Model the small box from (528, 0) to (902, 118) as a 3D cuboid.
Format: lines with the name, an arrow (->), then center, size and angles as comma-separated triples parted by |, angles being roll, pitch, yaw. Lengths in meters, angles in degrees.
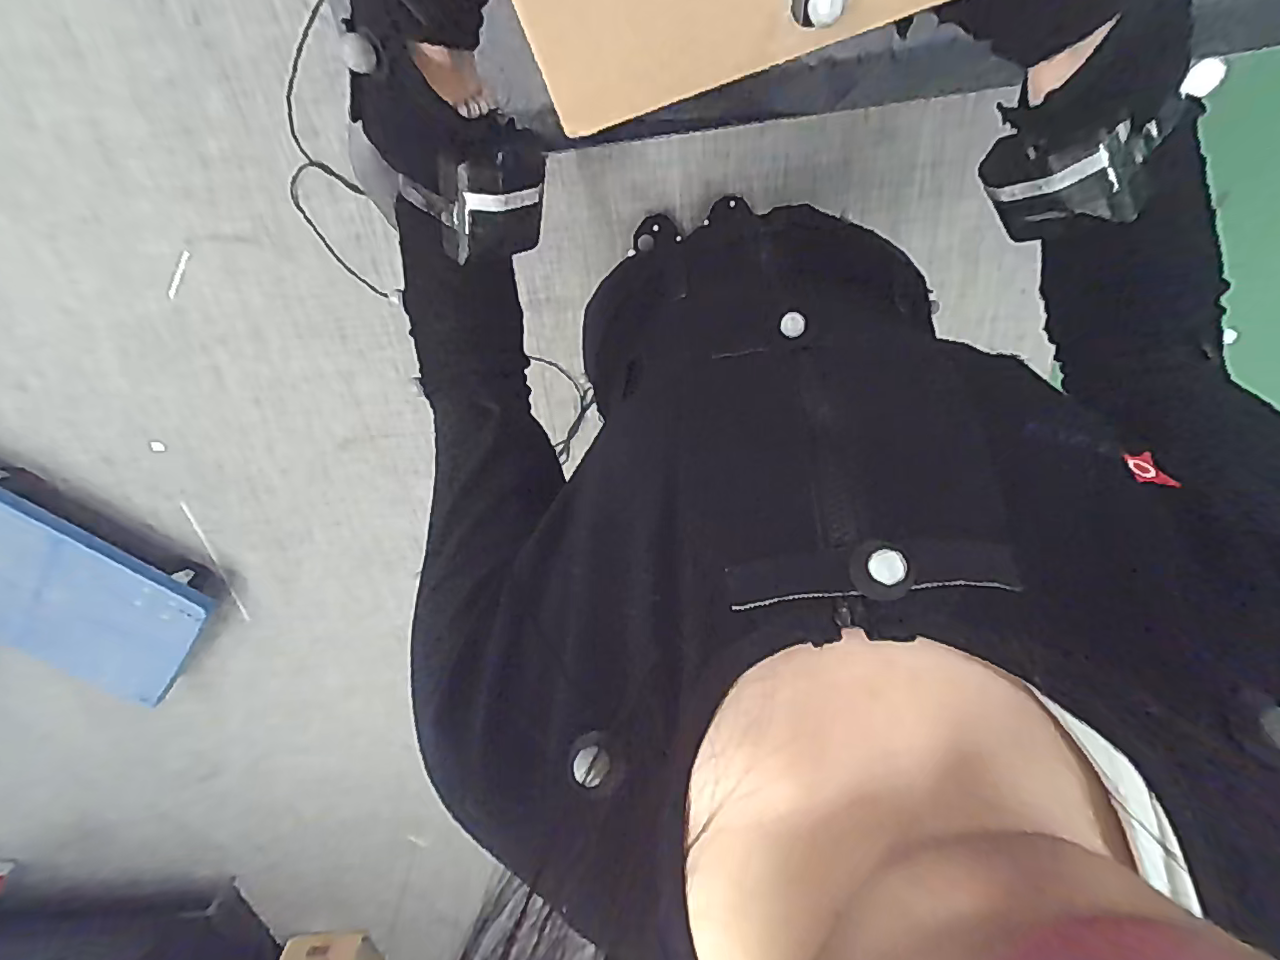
small box -> 0.015, -0.266, 0.155 | 0.168, 0.176, 0.179 | -15, 73, 9
